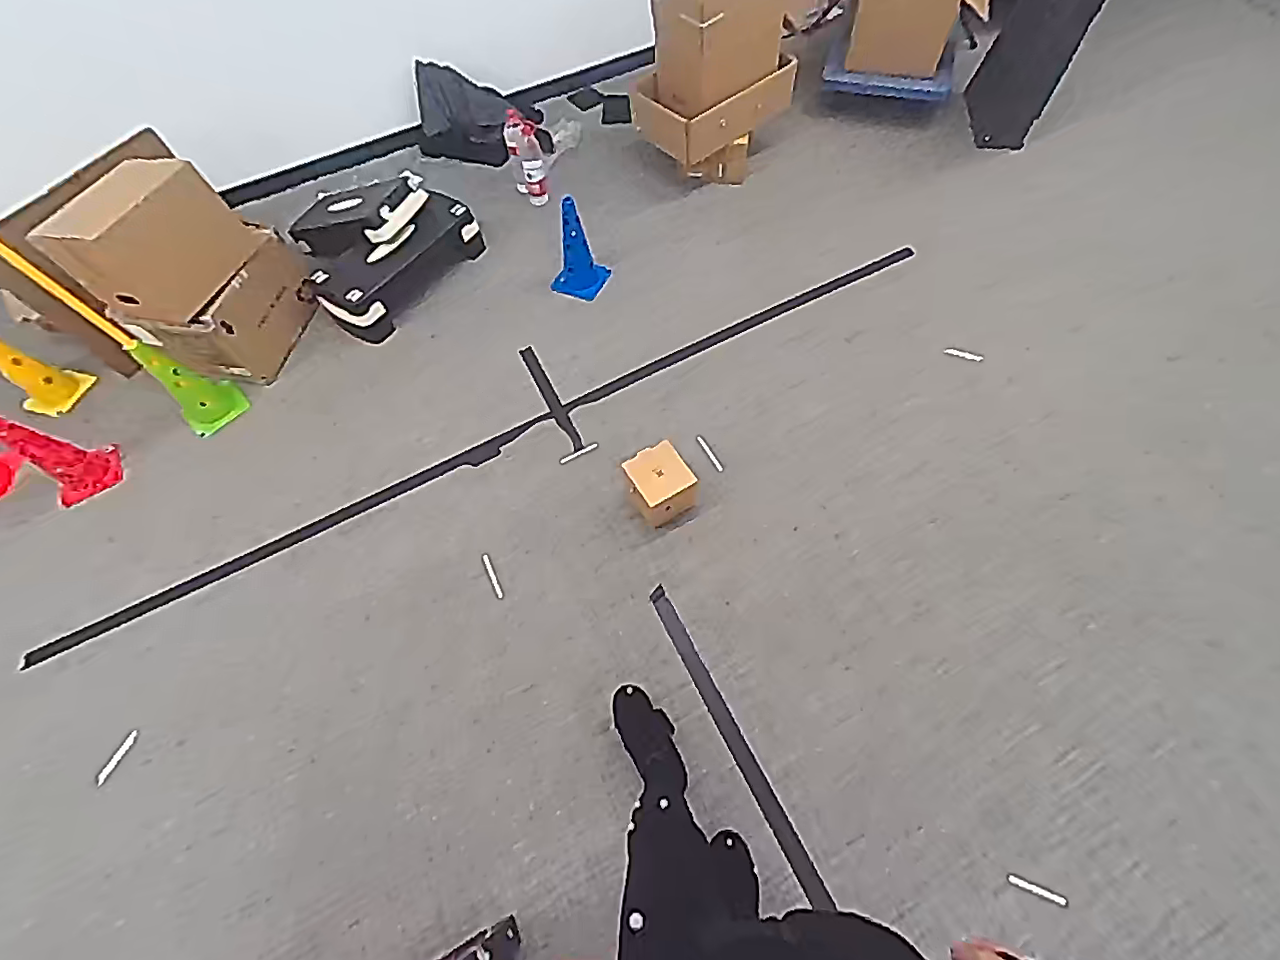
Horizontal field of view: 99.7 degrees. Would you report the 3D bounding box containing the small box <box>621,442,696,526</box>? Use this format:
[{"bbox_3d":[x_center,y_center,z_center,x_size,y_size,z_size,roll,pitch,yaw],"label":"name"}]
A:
[{"bbox_3d":[0.059,0.022,1.672,0.168,0.176,0.179,-30,64,-12],"label":"small box"}]
